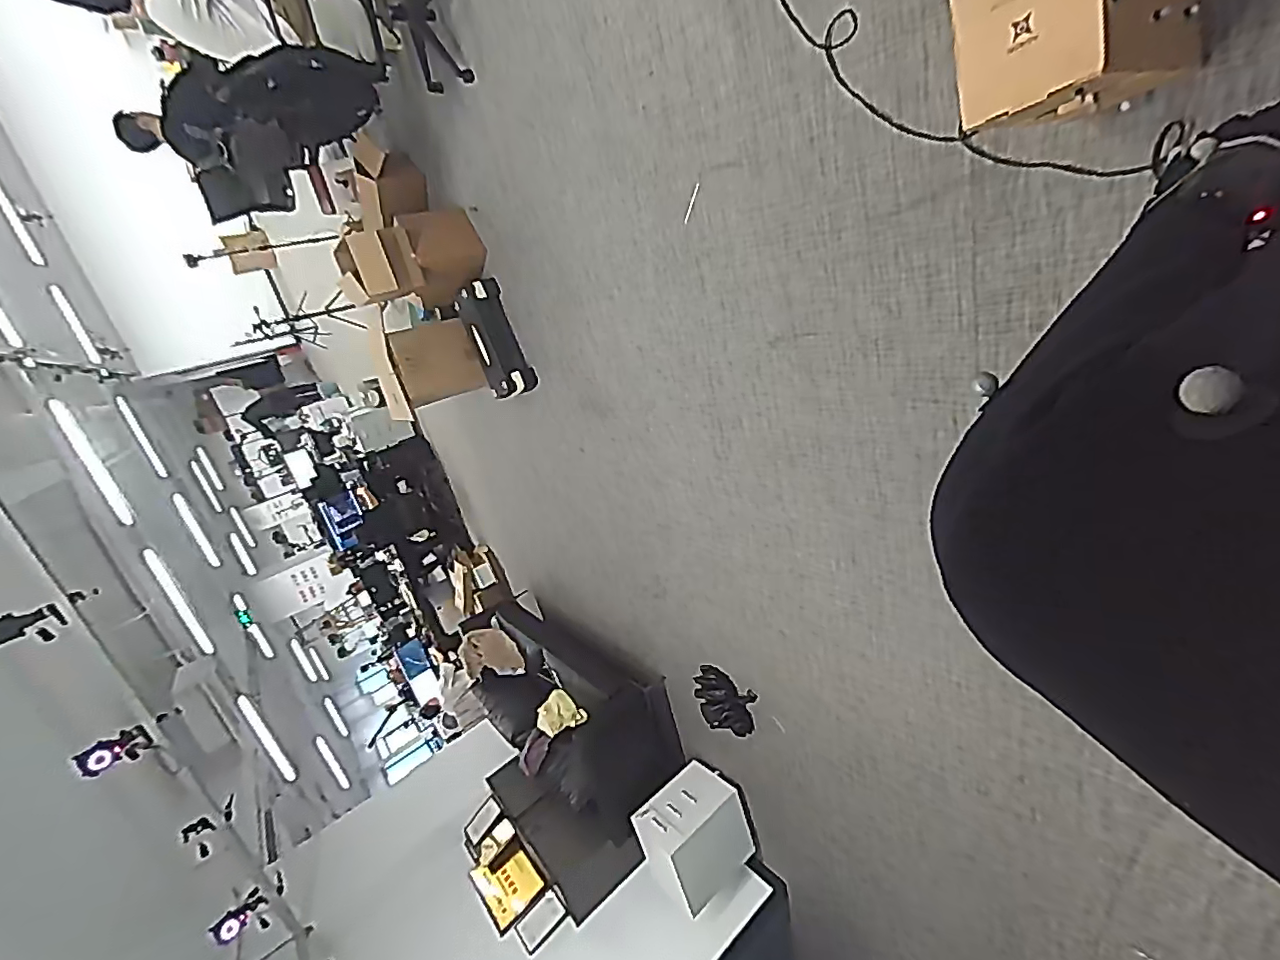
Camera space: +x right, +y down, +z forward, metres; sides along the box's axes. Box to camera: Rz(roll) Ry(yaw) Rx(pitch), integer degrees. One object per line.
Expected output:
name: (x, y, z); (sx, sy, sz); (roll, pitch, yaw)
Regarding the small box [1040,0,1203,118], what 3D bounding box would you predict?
small box: (0.807, -0.743, 0.905); (0.168, 0.176, 0.179); (2, 115, 56)
